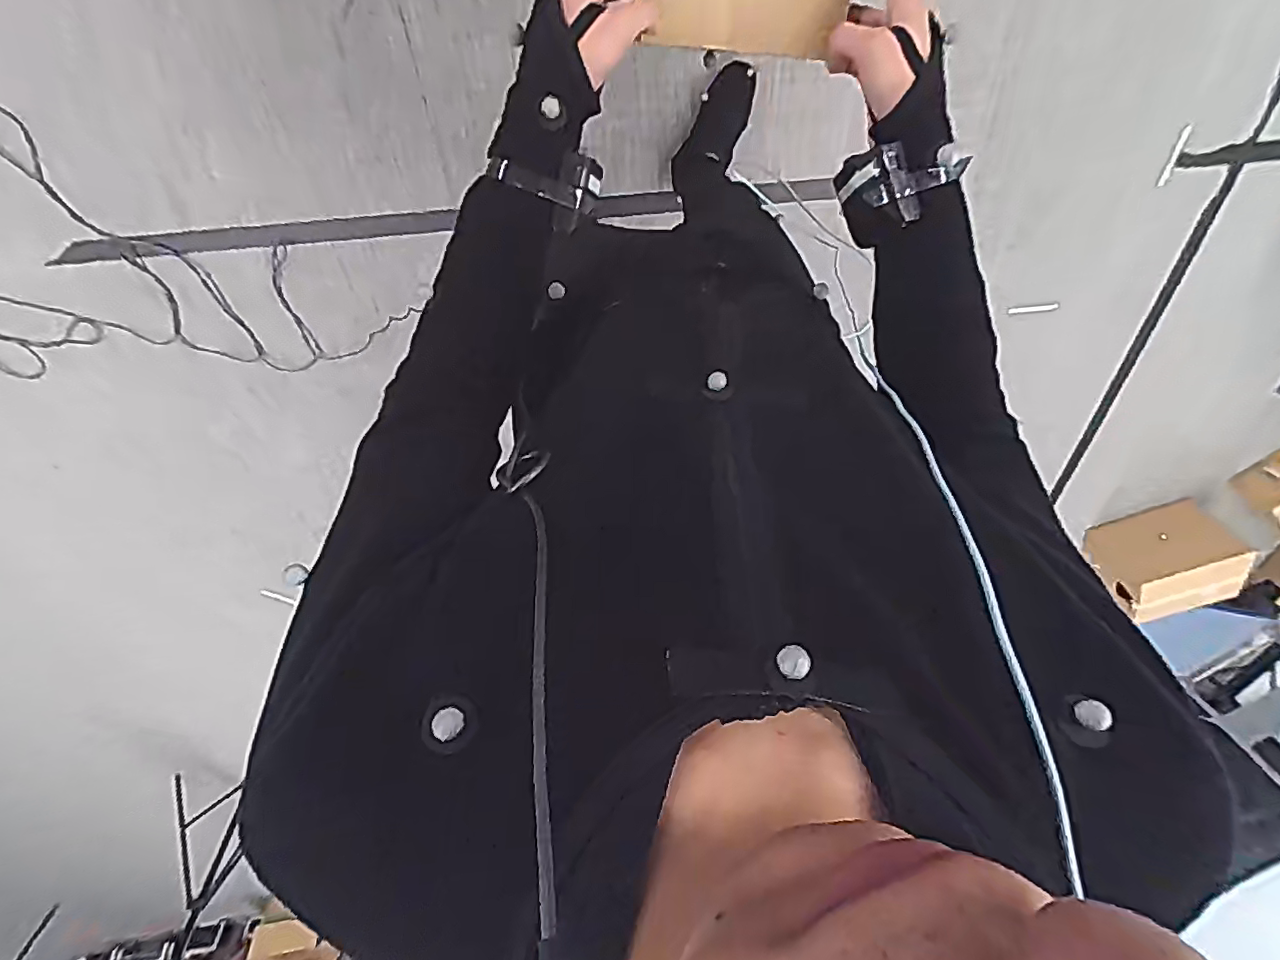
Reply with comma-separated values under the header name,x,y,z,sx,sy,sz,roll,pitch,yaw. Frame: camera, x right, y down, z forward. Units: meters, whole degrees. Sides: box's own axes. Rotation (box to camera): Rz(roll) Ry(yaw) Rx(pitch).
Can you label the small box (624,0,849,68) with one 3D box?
name,x,y,z,sx,sy,sz,roll,pitch,yaw
small box,0.078,-0.461,0.445,0.168,0.176,0.179,-1,130,-8
